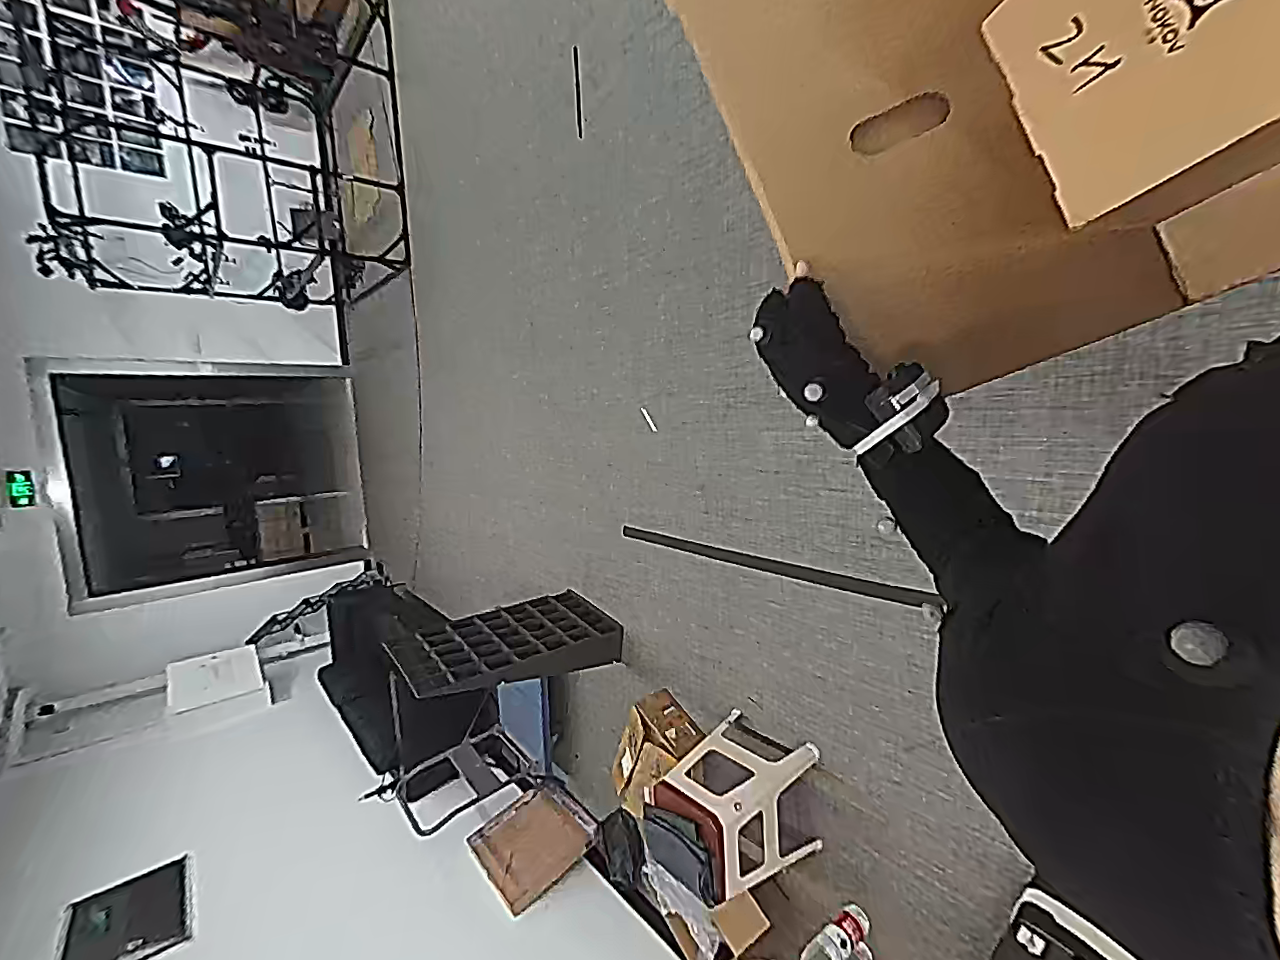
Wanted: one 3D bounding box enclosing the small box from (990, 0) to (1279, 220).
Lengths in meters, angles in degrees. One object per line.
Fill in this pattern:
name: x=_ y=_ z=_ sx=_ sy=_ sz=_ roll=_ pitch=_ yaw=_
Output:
small box: x=0.381 y=-0.297 z=0.350 sx=0.179 sy=0.176 sz=0.168 roll=-24 pitch=84 yaw=60
